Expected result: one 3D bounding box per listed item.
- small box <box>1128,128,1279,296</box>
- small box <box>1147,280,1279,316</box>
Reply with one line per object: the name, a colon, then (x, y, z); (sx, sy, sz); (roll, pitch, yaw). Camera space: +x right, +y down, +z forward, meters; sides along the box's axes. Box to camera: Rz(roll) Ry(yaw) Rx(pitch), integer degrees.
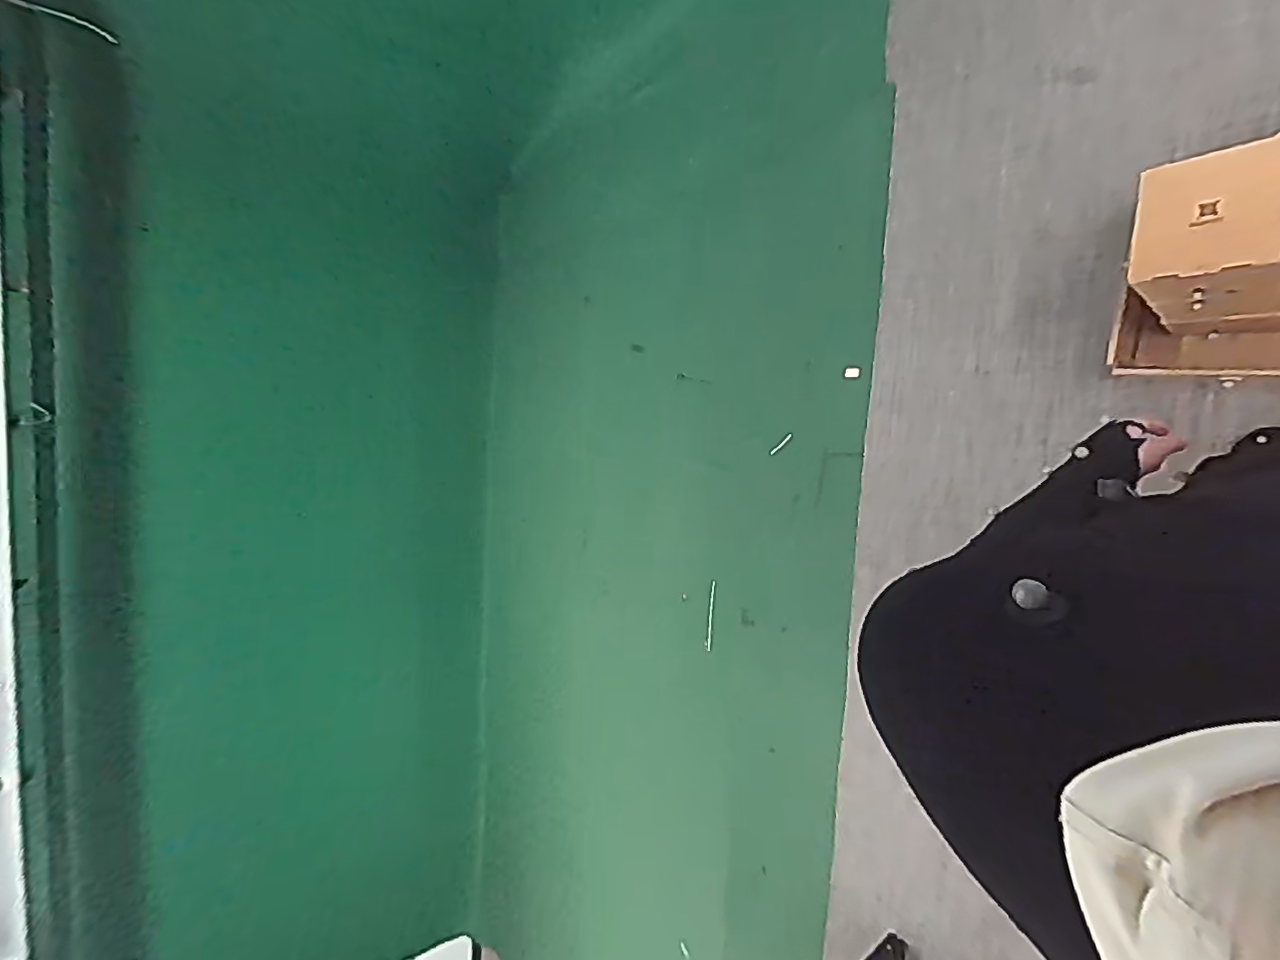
small box: (0.895, -0.402, 0.840); (0.168, 0.176, 0.179); (9, 98, 52)
small box: (1.022, -0.399, 0.940); (0.168, 0.176, 0.179); (12, 98, 53)
